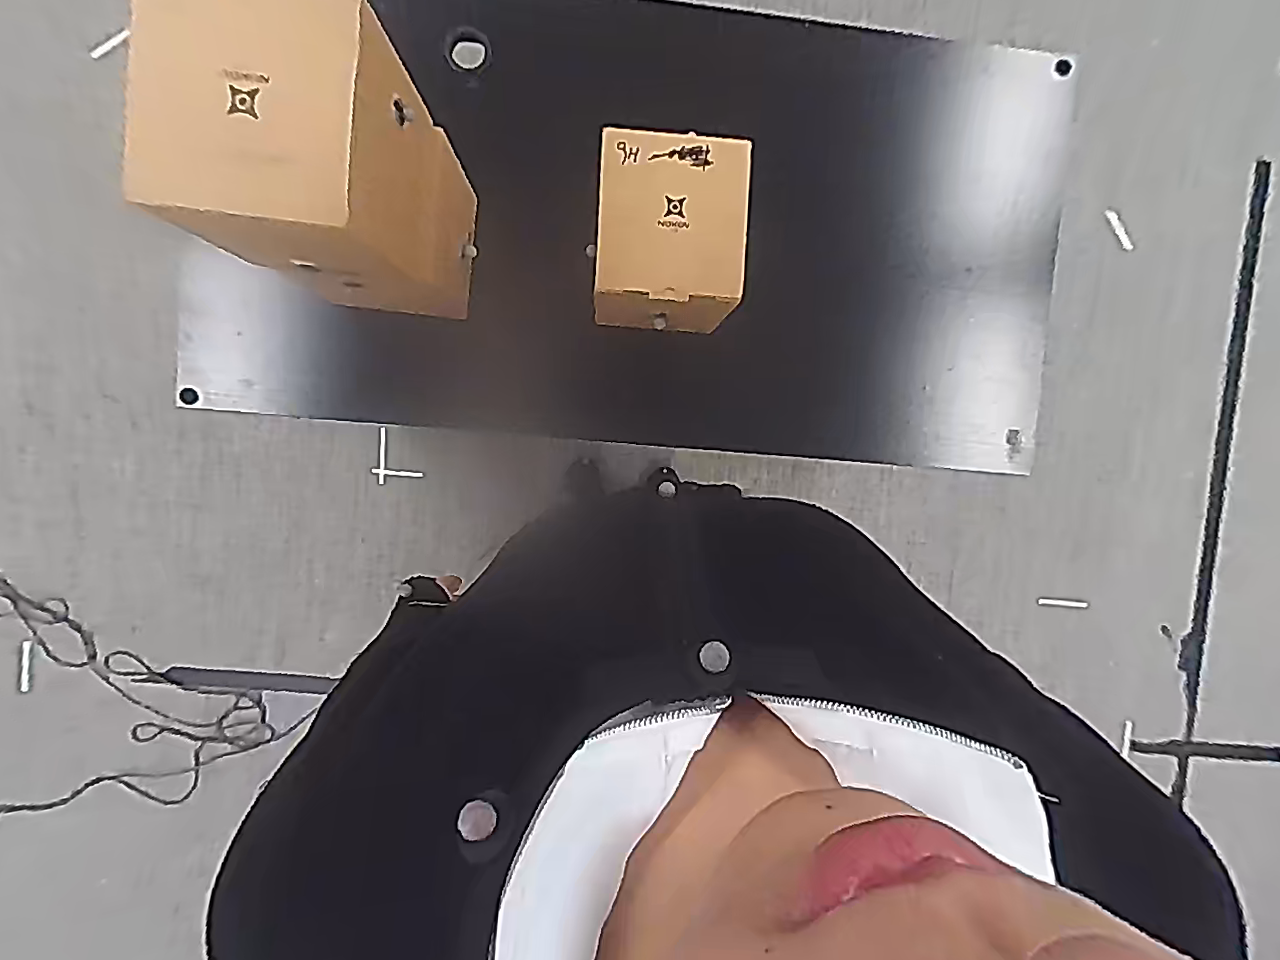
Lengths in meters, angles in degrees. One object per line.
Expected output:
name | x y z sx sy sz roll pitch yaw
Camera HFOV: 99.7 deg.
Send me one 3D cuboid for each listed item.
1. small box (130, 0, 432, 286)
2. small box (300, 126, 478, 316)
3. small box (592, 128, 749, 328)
small box | -0.299 -0.295 0.487 0.168 0.176 0.179 5 94 -3
small box | -0.307 -0.305 0.649 0.179 0.176 0.168 6 93 -5
small box | 0.030 -0.296 0.675 0.168 0.176 0.179 3 93 -4
